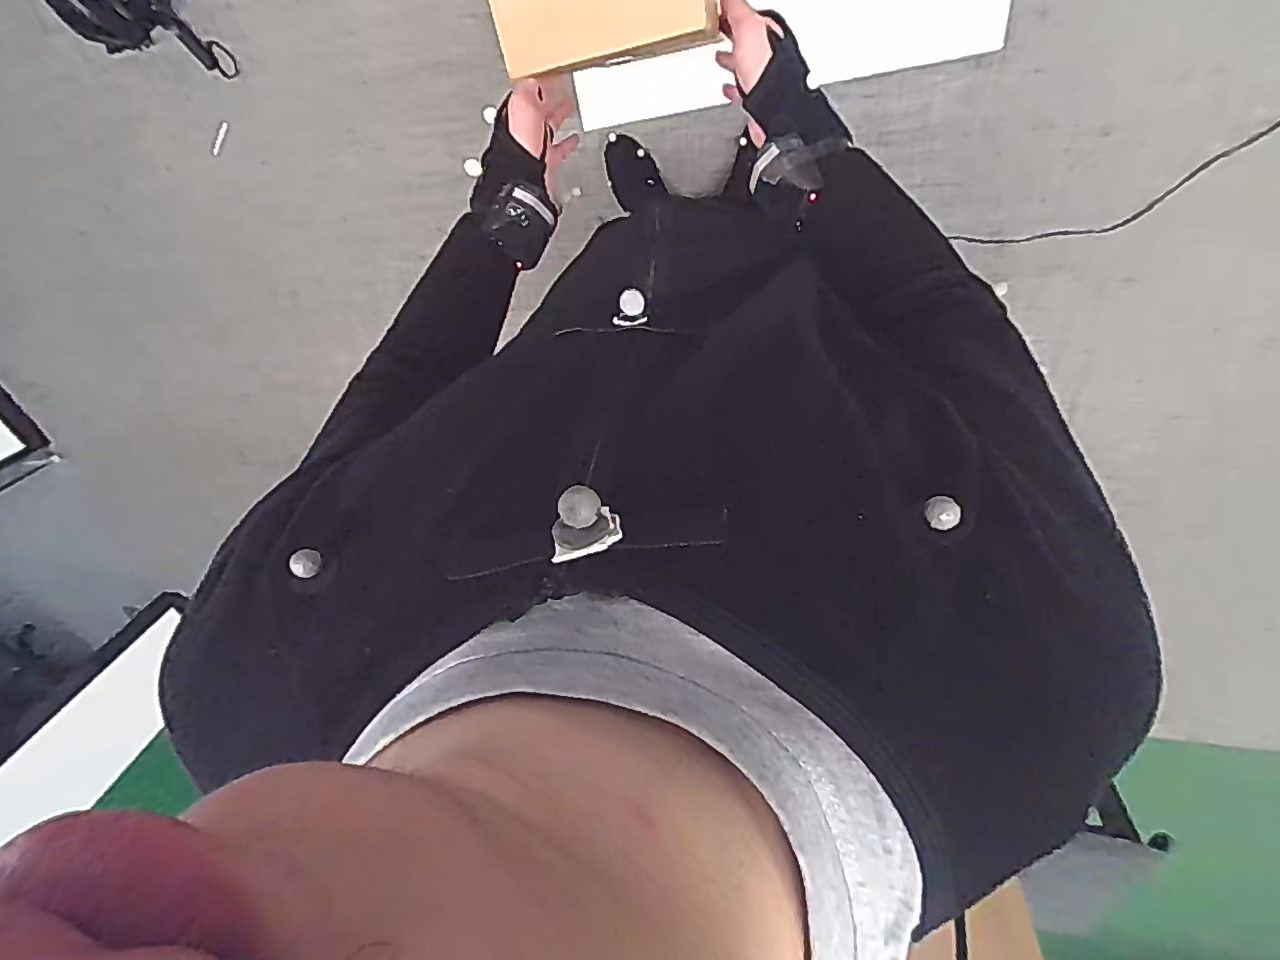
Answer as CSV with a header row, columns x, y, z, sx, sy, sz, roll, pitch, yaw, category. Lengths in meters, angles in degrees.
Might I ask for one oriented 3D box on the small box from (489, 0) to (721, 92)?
x,y,z,sx,sy,sz,roll,pitch,yaw,category
-0.027,-0.440,0.446,0.168,0.176,0.179,-2,125,16,small box
